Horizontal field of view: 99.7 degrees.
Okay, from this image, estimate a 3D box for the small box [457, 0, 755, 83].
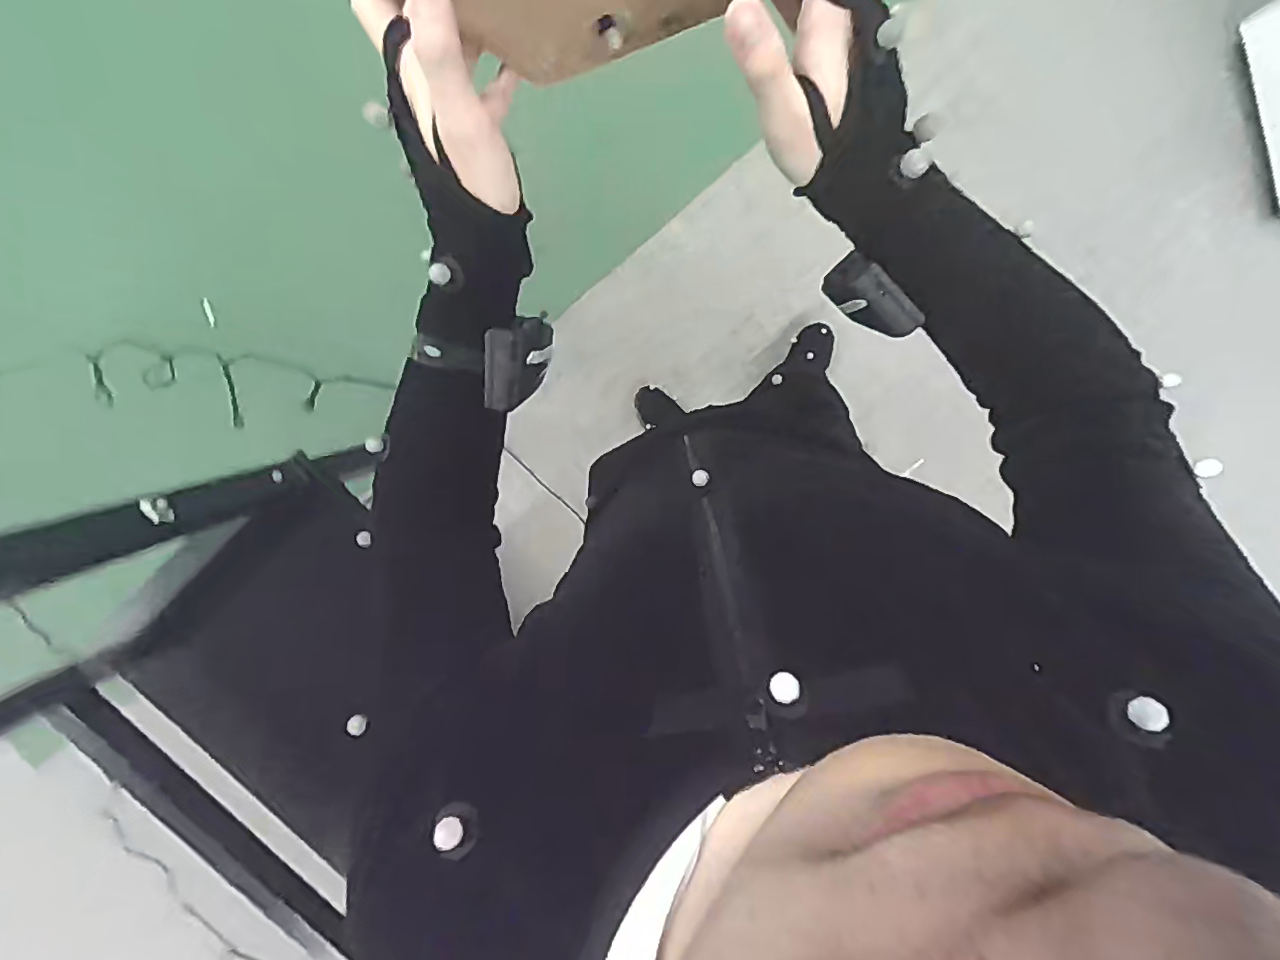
[{"bbox_3d":[-0.028,-0.347,0.275,0.168,0.176,0.179,-11,112,15],"label":"small box"}]
